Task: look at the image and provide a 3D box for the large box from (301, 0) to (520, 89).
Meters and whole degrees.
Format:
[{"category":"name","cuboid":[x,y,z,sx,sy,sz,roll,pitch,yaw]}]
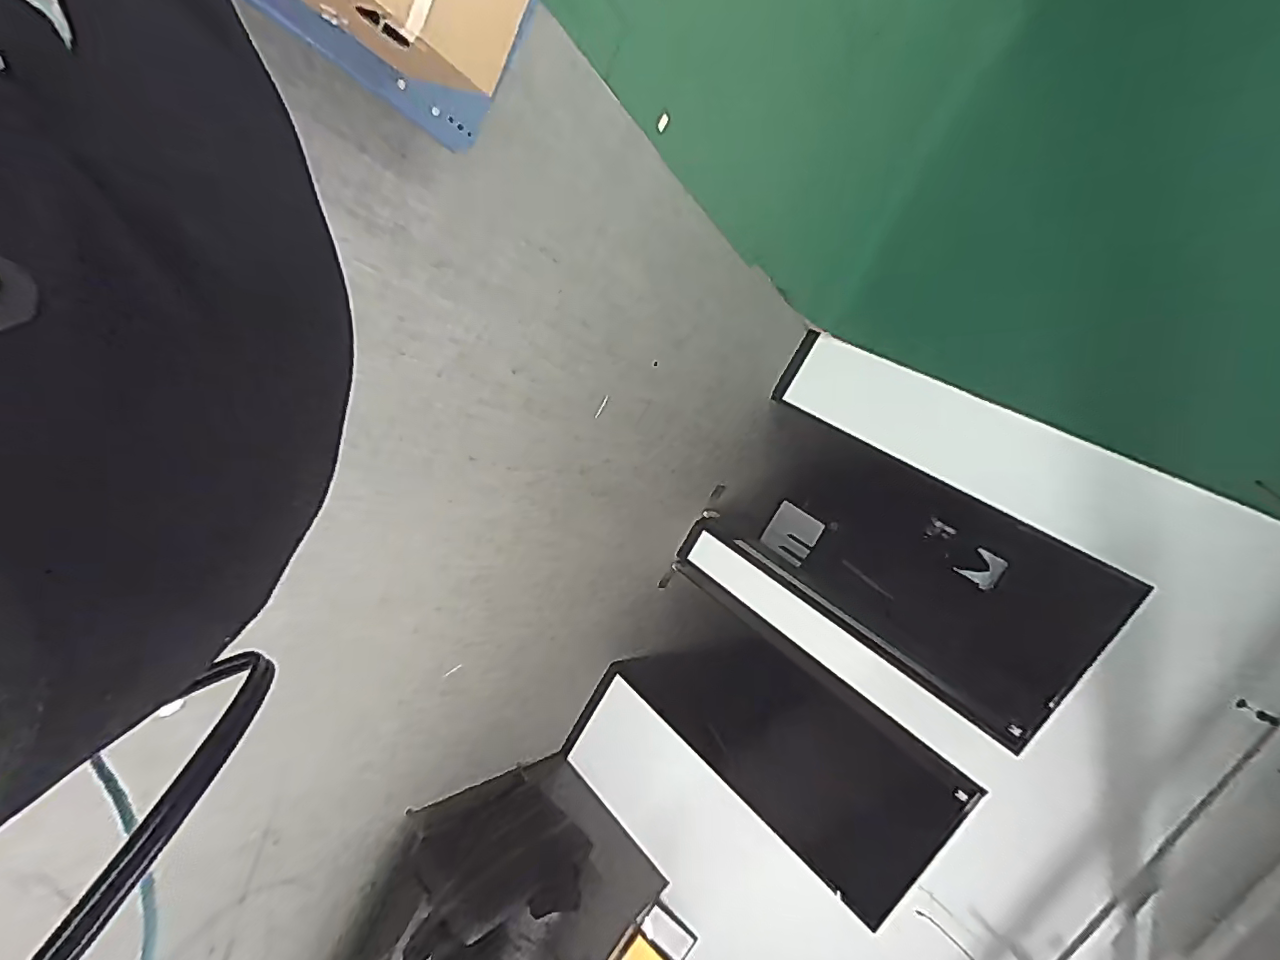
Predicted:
[{"category":"large box","cuboid":[-0.368,-0.917,0.837,0.320,0.320,0.408,8,112,-55]}]
